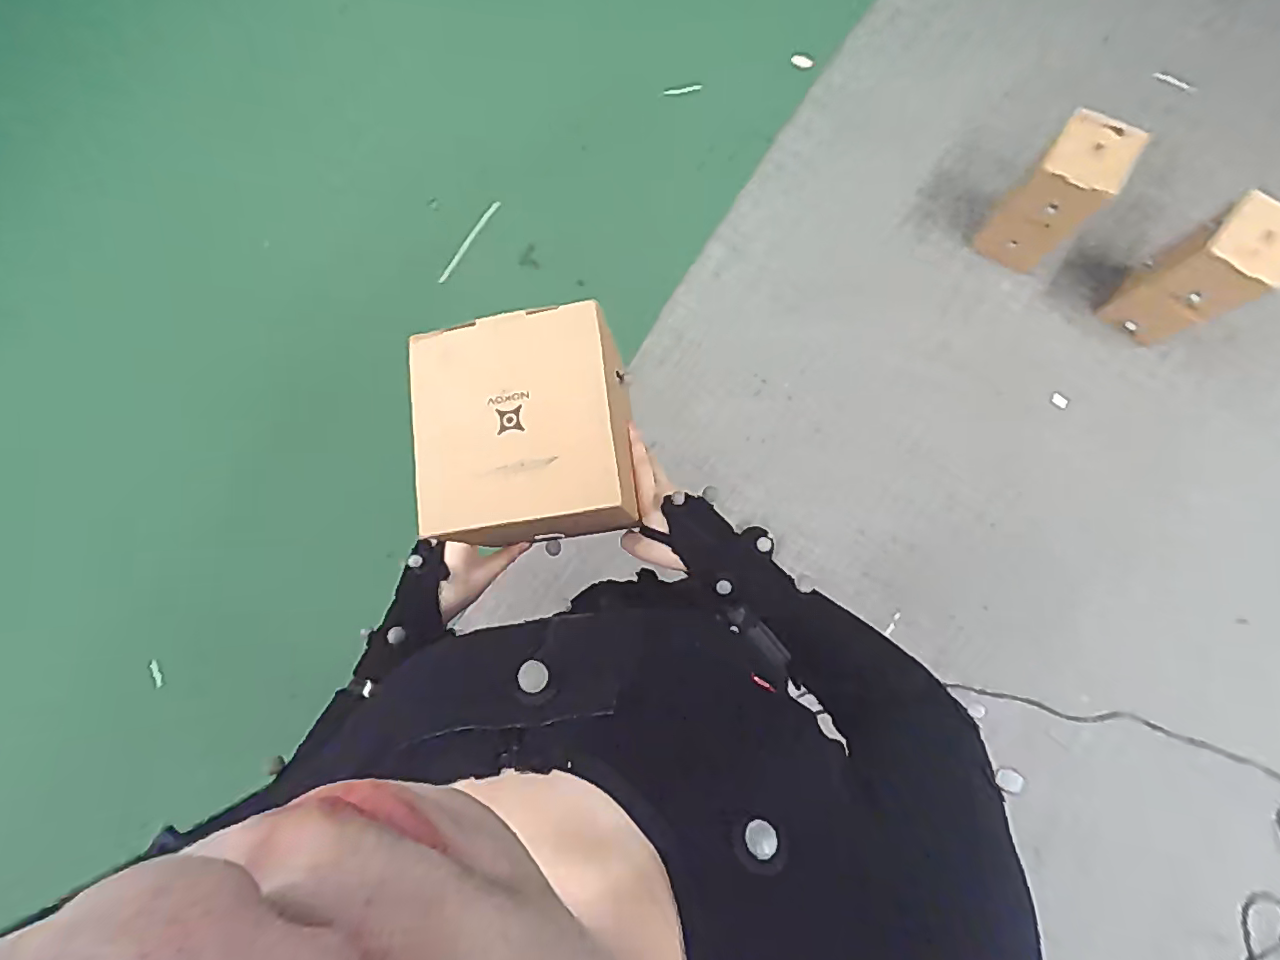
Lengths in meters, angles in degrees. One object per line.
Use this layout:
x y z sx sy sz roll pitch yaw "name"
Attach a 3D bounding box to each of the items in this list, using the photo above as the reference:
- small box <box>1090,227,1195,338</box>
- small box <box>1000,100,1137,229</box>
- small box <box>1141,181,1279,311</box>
1.331 -0.504 1.397 0.168 0.176 0.179 39 89 8 "small box"
1.005 -0.742 1.290 0.168 0.176 0.179 30 87 8 "small box"
1.320 -0.524 1.234 0.168 0.176 0.179 37 88 9 "small box"
